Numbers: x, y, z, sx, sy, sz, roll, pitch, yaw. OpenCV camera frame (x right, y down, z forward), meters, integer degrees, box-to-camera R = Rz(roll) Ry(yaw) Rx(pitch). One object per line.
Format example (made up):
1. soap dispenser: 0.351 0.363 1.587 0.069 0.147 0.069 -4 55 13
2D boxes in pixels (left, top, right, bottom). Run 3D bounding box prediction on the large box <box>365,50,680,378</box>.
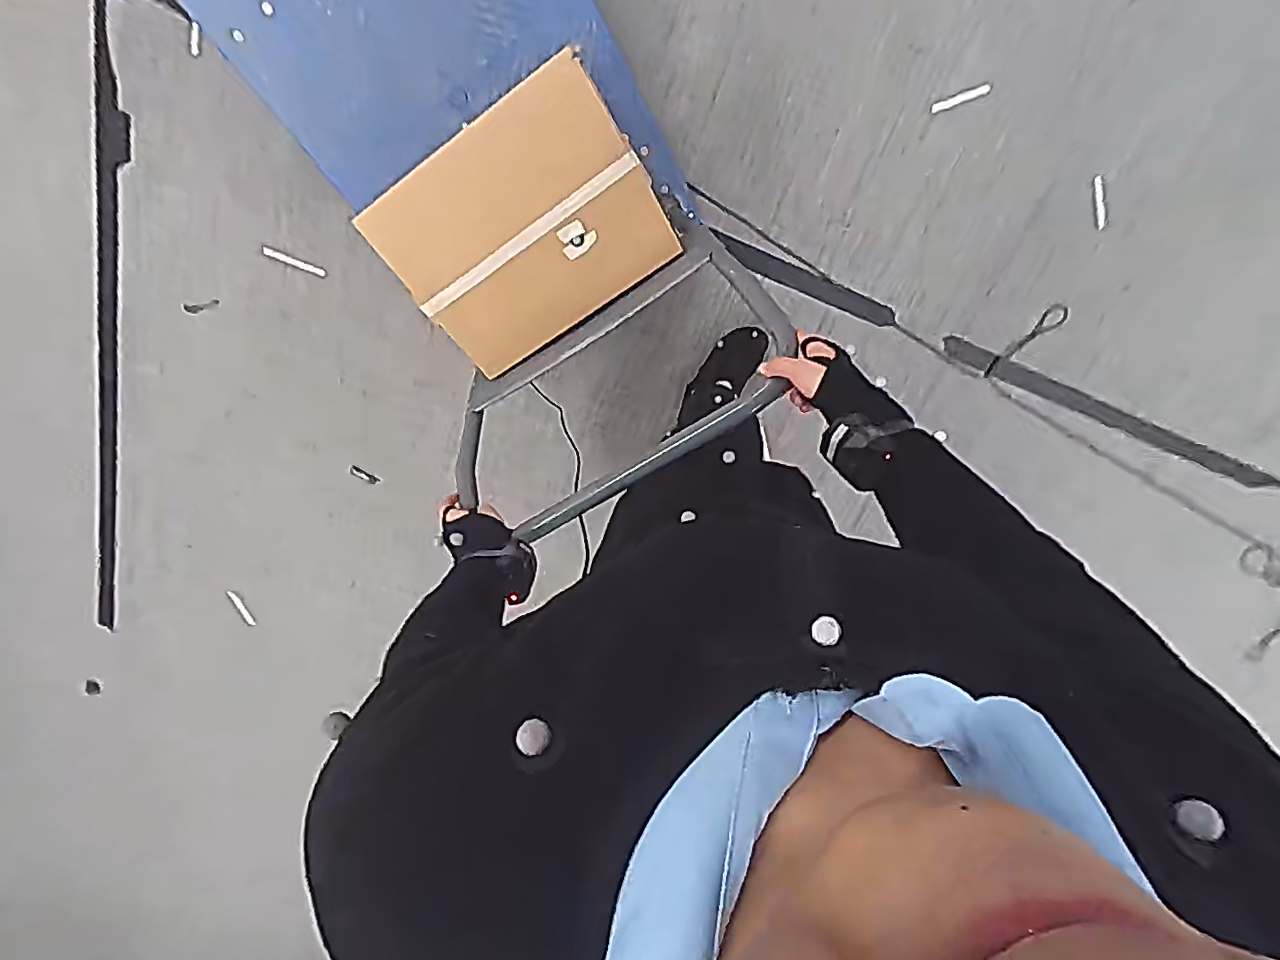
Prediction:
1. large box: -0.195 -0.461 0.974 0.408 0.320 0.320 -31 123 12
